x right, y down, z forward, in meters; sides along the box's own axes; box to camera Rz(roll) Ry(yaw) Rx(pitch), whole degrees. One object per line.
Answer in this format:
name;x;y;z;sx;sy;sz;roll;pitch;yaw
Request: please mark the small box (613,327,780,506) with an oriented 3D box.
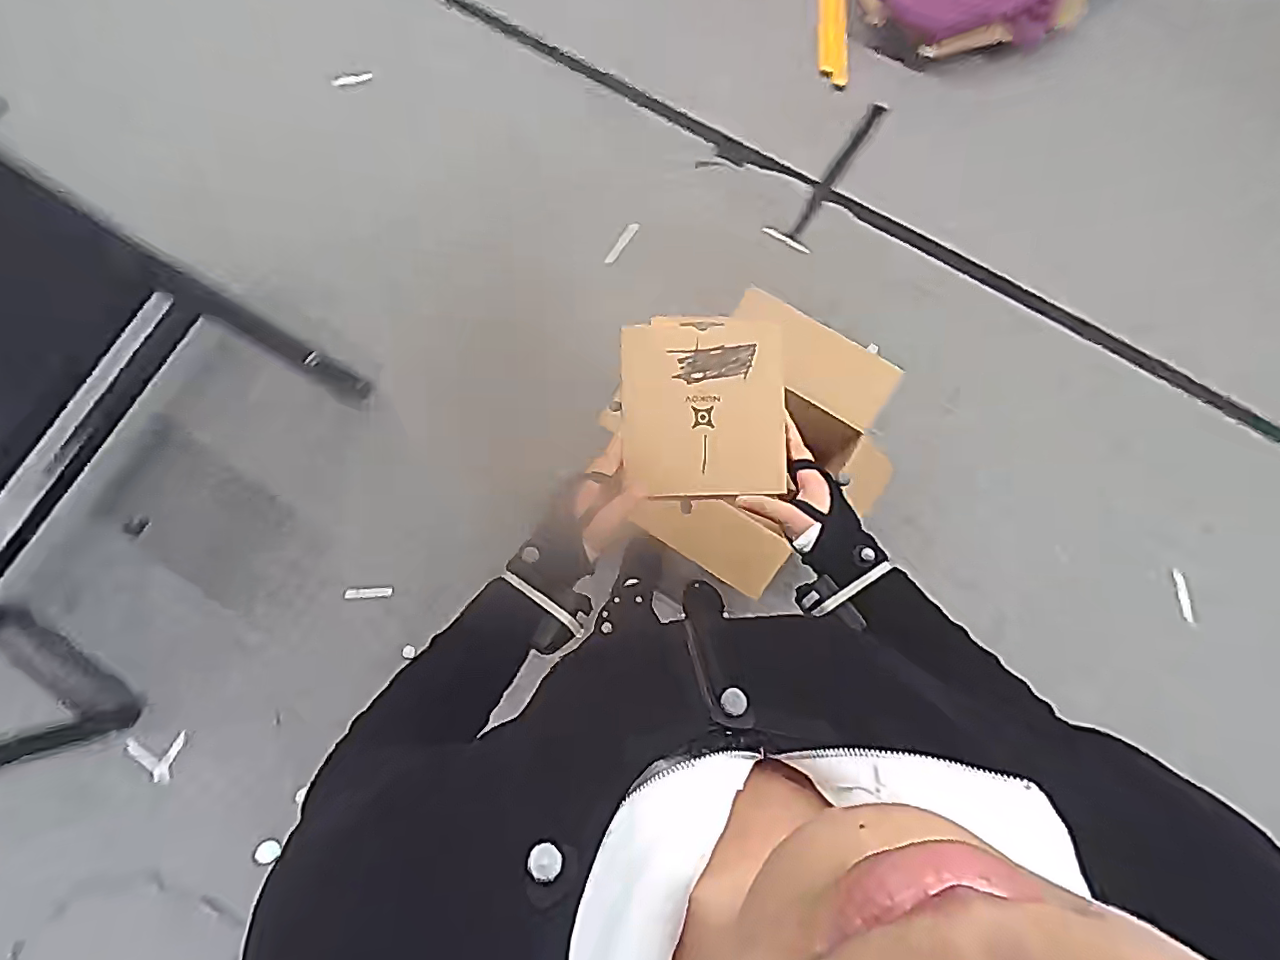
small box;0.053;-0.062;0.622;0.168;0.176;0.179;-1;86;-3
